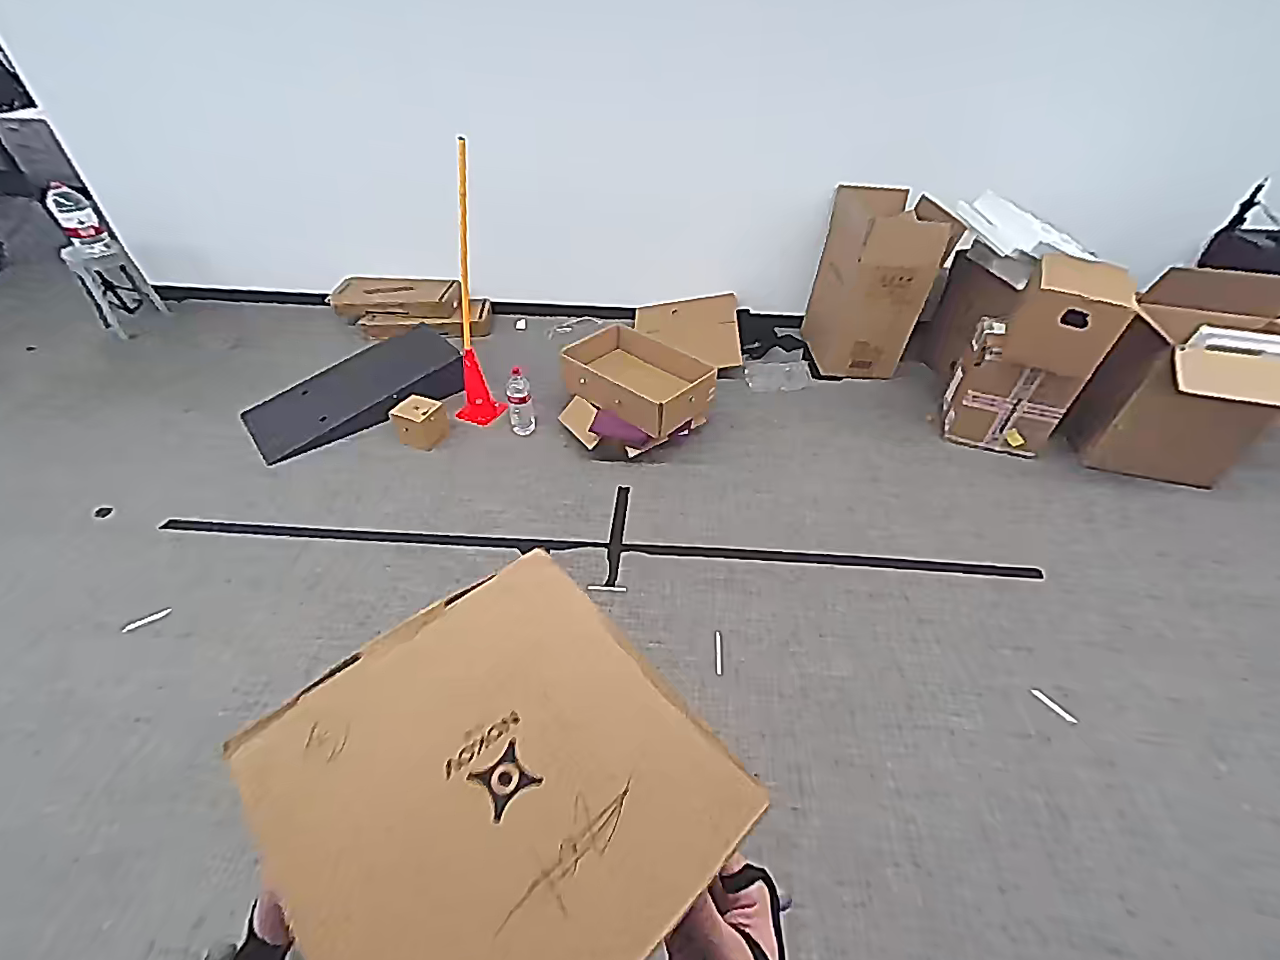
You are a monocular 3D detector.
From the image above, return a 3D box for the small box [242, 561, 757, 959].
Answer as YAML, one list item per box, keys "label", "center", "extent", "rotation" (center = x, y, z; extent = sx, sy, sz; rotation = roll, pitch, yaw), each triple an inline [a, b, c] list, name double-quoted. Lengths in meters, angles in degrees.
- label: "small box"
  center: [-0.070, 0.187, 0.302]
  extent: [0.168, 0.176, 0.179]
  rotation: [-33, 60, -30]
